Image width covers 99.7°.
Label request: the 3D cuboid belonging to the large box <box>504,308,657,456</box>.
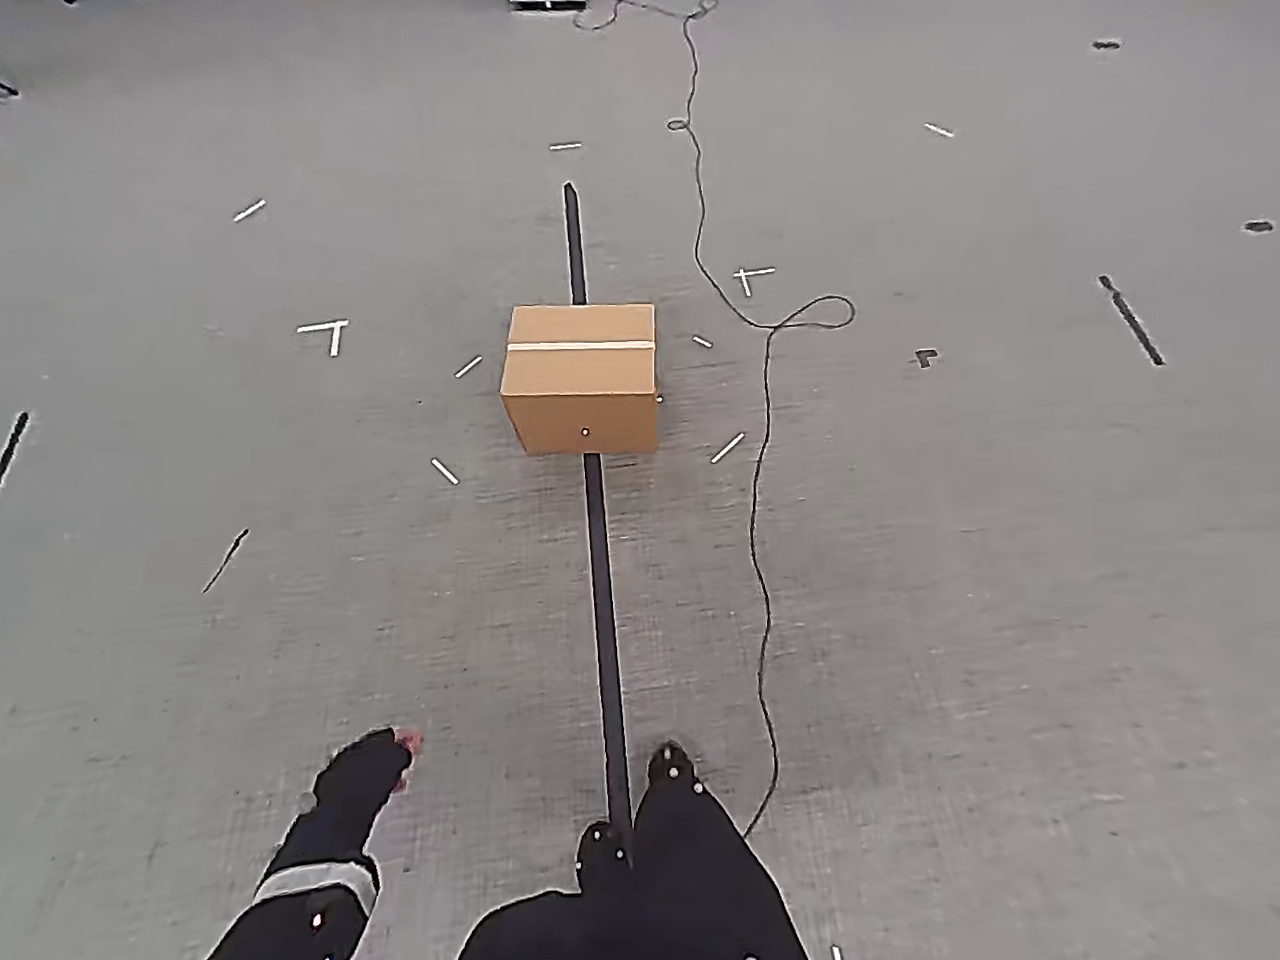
[{"bbox_3d":[-0.155,-0.278,1.591,0.408,0.320,0.320,0,64,2],"label":"large box"}]
